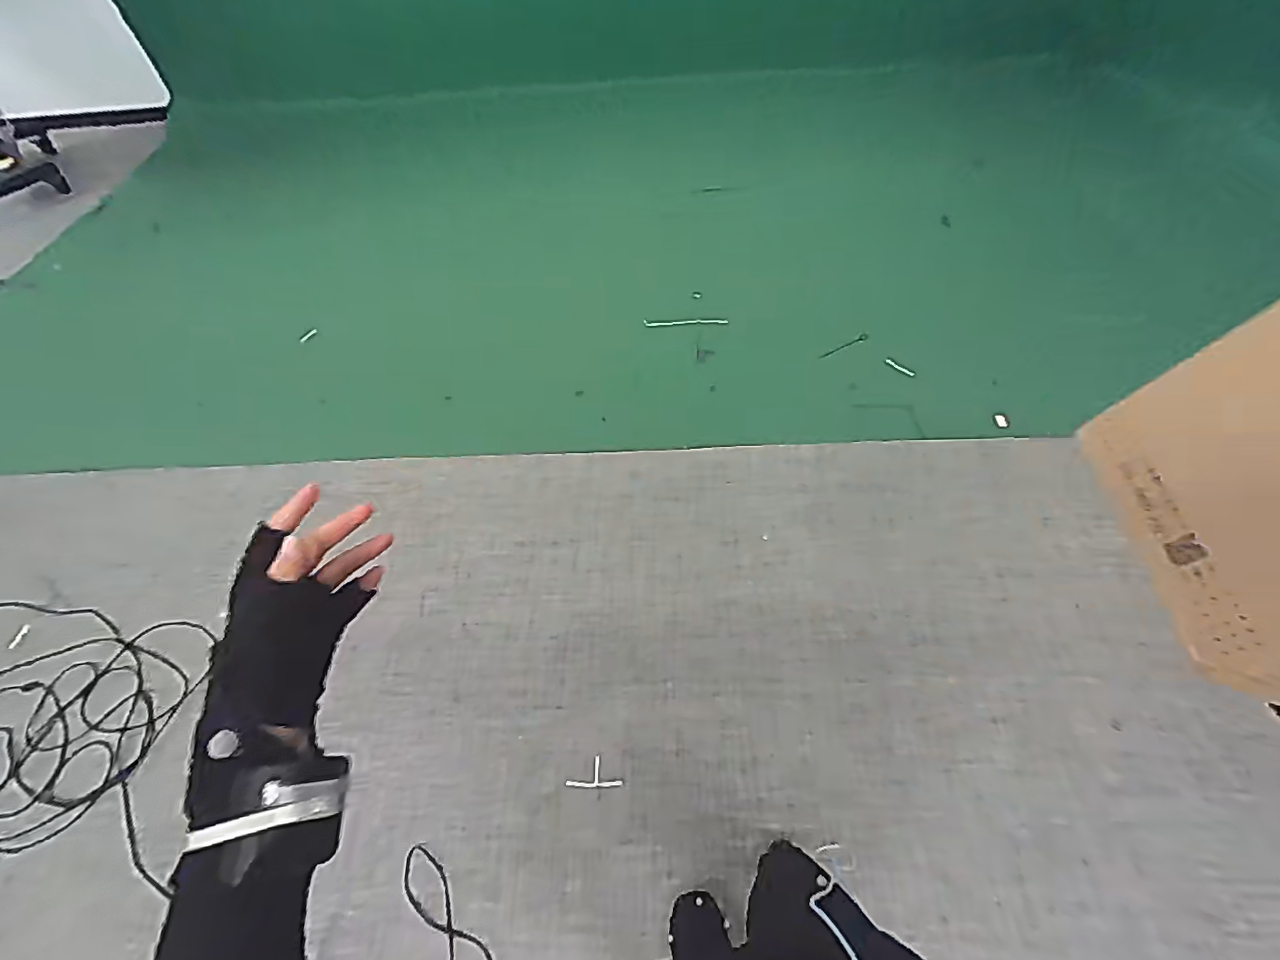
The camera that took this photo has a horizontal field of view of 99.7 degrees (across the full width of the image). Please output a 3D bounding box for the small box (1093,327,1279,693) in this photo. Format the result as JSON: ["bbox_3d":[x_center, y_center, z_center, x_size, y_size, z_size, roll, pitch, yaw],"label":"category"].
[{"bbox_3d":[0.384,0.013,0.261,0.179,0.176,0.168,20,51,-13],"label":"small box"}]
